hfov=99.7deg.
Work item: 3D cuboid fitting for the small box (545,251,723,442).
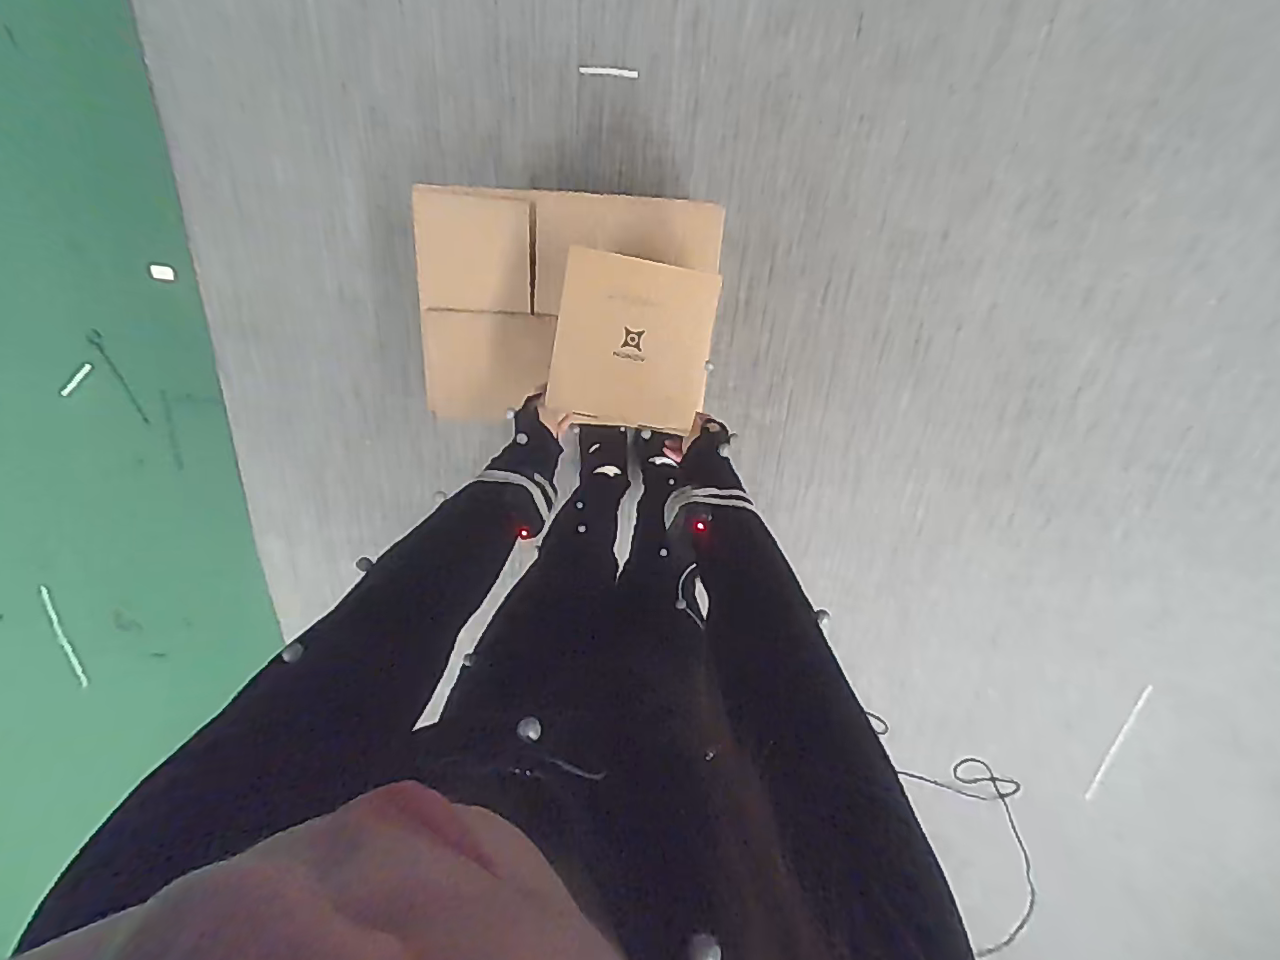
[{"bbox_3d":[-0.008,-0.151,0.658,0.168,0.176,0.179,11,97,-2],"label":"small box"}]
